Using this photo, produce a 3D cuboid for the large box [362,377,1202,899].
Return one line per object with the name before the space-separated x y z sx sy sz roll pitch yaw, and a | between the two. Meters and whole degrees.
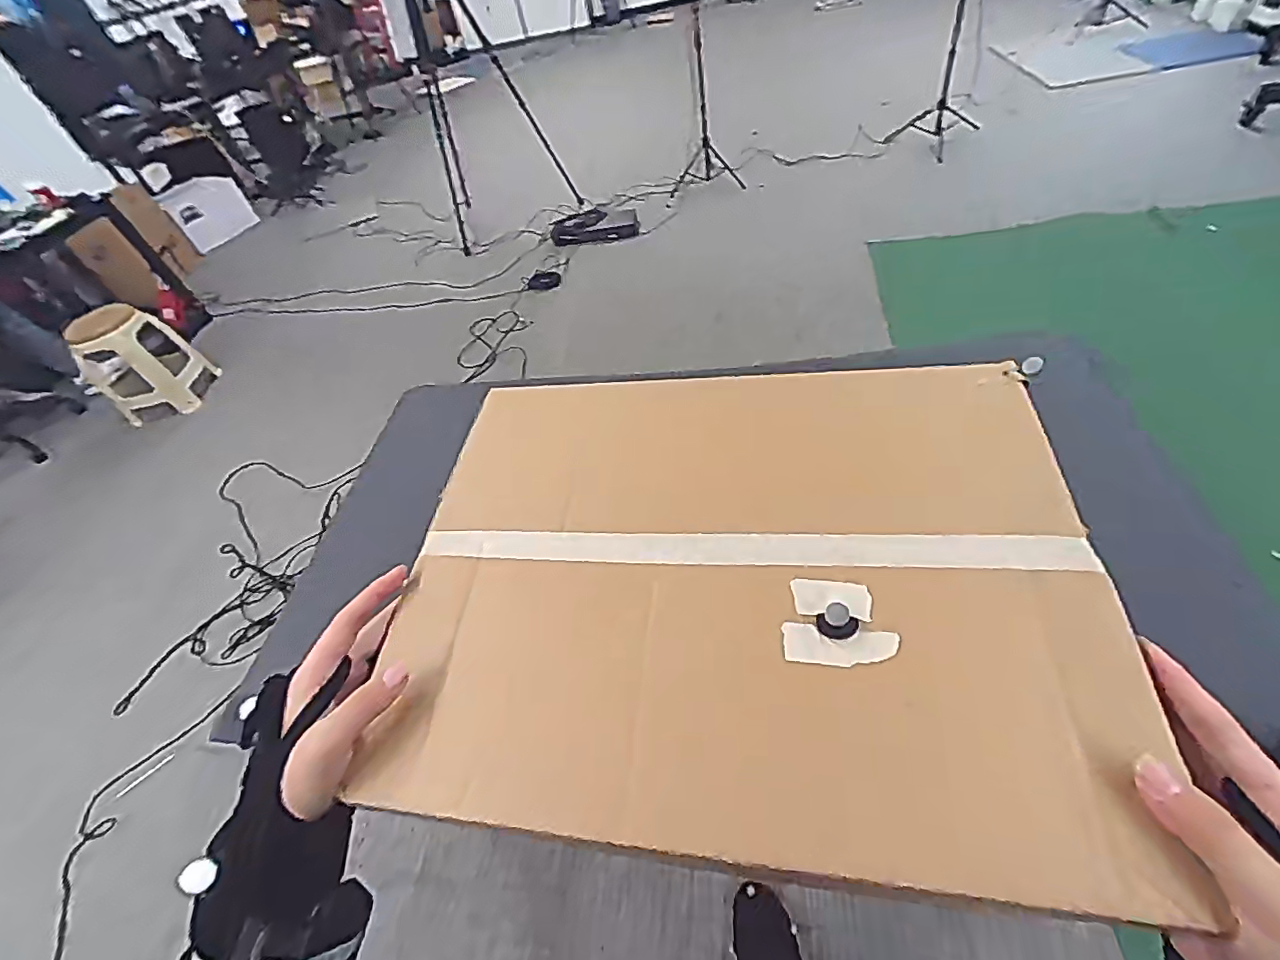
large box | 0.078 0.137 0.462 0.408 0.320 0.320 0 55 12
